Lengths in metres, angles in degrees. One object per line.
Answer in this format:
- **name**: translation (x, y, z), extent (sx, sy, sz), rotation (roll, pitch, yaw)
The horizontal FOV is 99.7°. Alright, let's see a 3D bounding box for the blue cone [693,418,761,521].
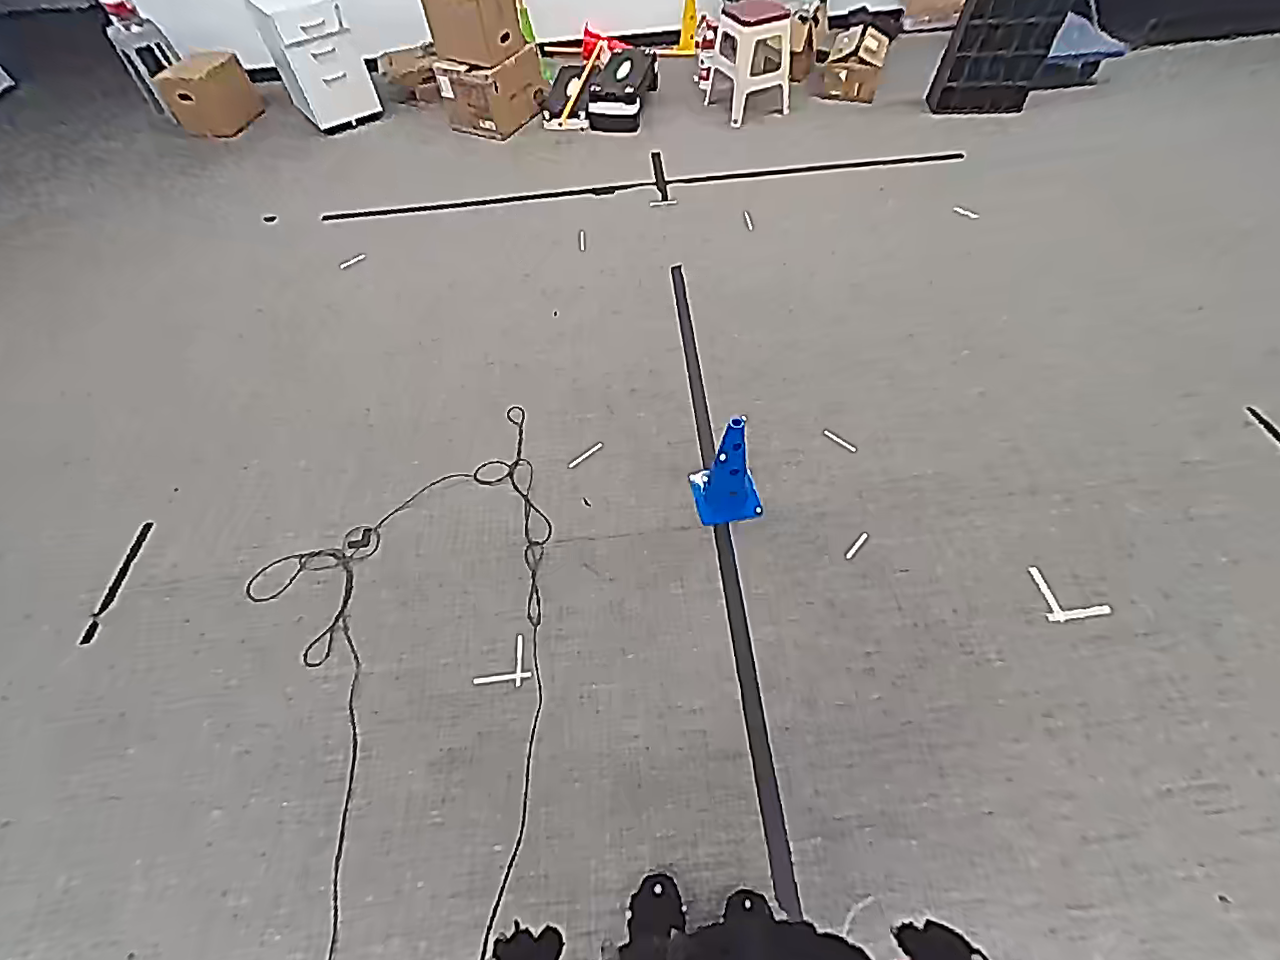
- **blue cone**: translation (0.267, -0.048, 1.590), extent (0.192, 0.380, 0.193), rotation (-8, 56, -3)
